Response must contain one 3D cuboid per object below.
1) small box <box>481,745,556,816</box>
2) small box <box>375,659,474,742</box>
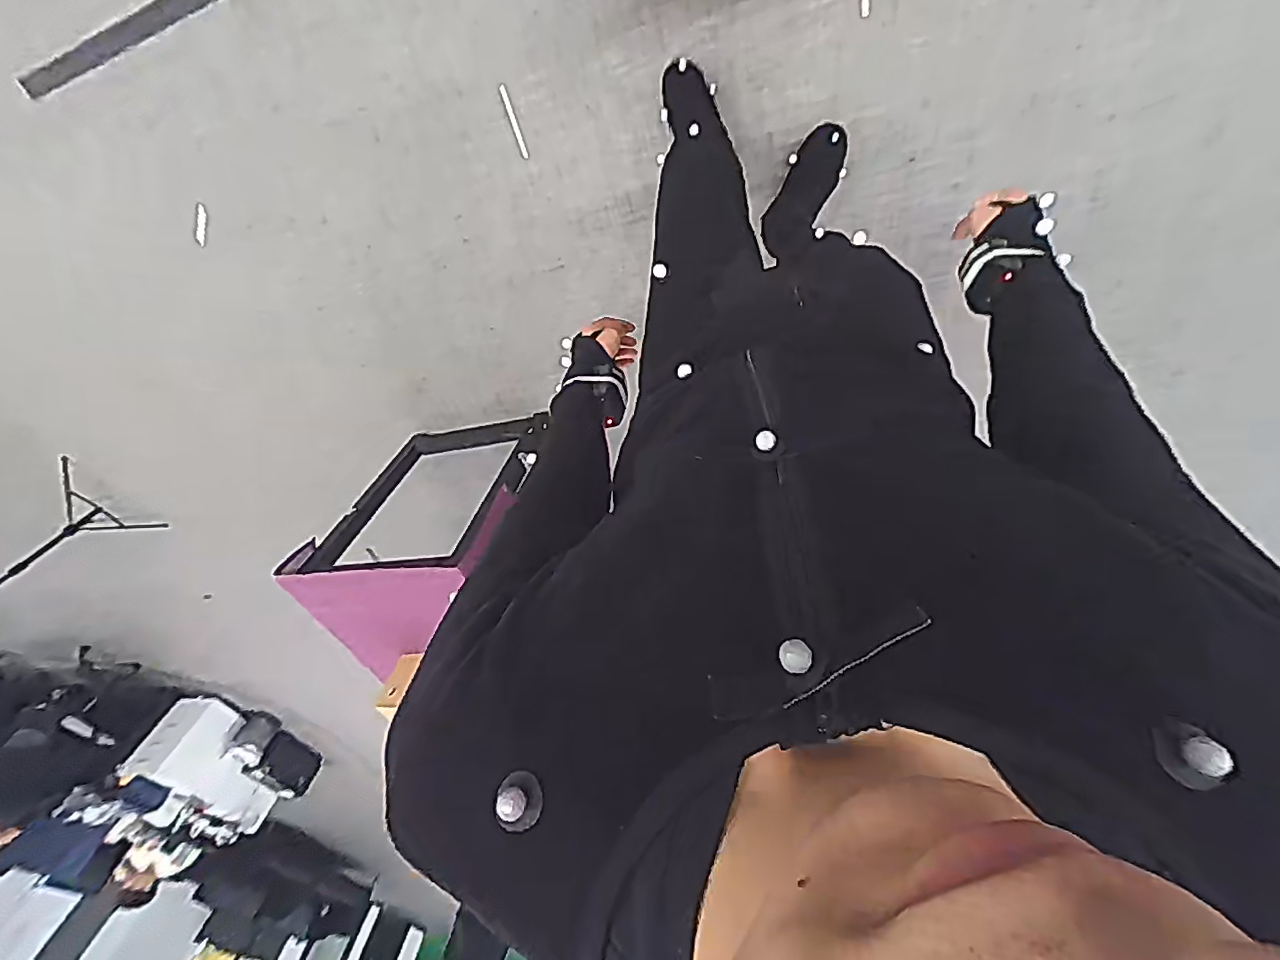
[{"bbox_3d":[-0.406,1.029,1.854,0.179,0.176,0.168,-17,123,26],"label":"small box"},{"bbox_3d":[-0.624,0.645,1.584,0.179,0.176,0.168,-11,126,21],"label":"small box"}]
